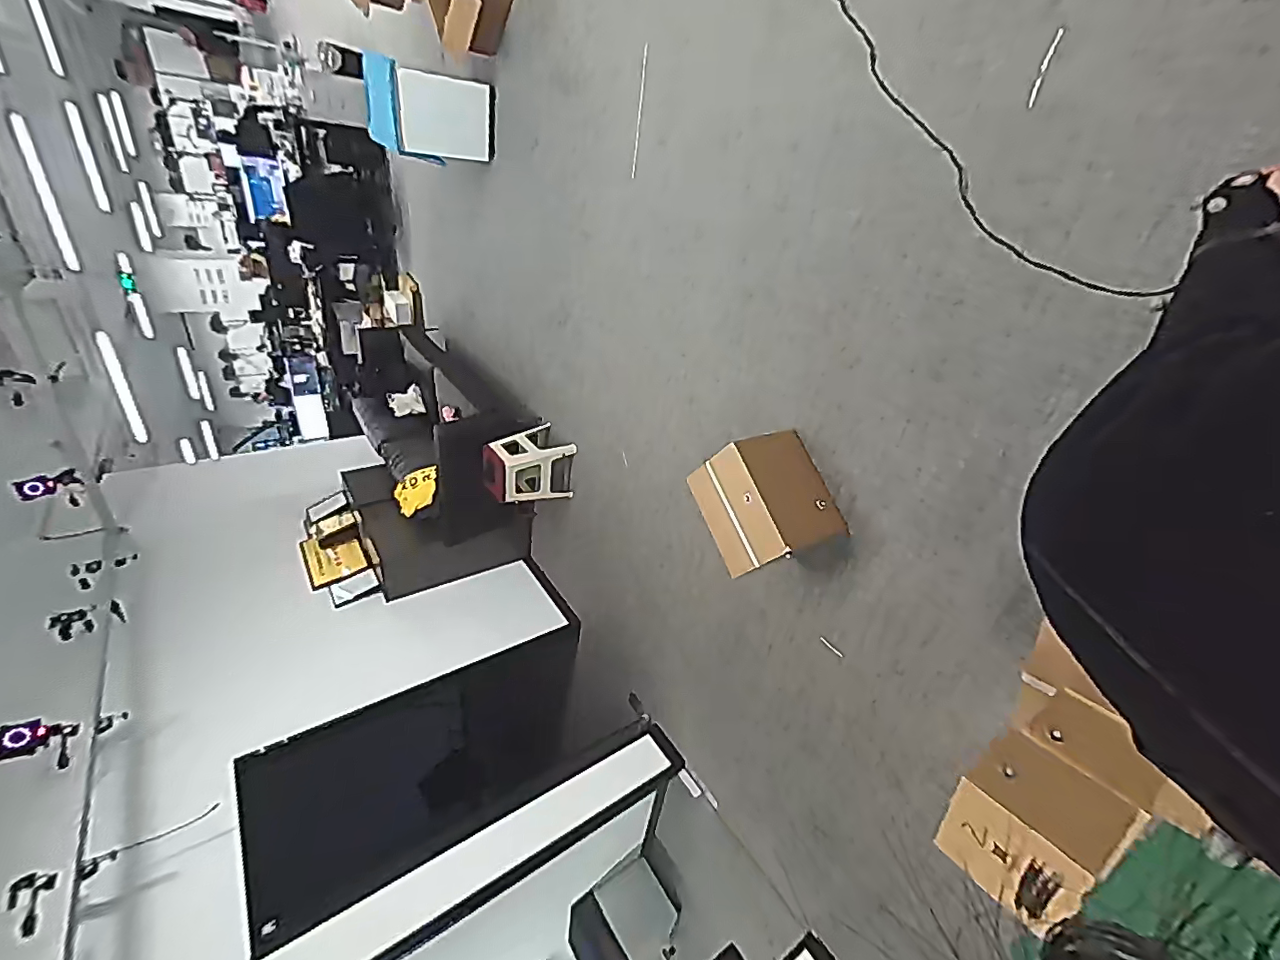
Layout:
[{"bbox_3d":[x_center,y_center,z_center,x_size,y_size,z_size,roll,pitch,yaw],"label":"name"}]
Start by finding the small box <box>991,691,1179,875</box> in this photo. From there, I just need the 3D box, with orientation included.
[{"bbox_3d":[0.743,0.492,0.906,0.179,0.176,0.168,34,129,46],"label":"small box"}]

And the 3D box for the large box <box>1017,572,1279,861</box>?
[{"bbox_3d":[1.089,0.437,1.117,0.408,0.320,0.320,24,122,48],"label":"large box"}]

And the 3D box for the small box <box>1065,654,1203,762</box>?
[{"bbox_3d":[0.876,0.453,0.989,0.168,0.176,0.179,33,128,47],"label":"small box"}]
